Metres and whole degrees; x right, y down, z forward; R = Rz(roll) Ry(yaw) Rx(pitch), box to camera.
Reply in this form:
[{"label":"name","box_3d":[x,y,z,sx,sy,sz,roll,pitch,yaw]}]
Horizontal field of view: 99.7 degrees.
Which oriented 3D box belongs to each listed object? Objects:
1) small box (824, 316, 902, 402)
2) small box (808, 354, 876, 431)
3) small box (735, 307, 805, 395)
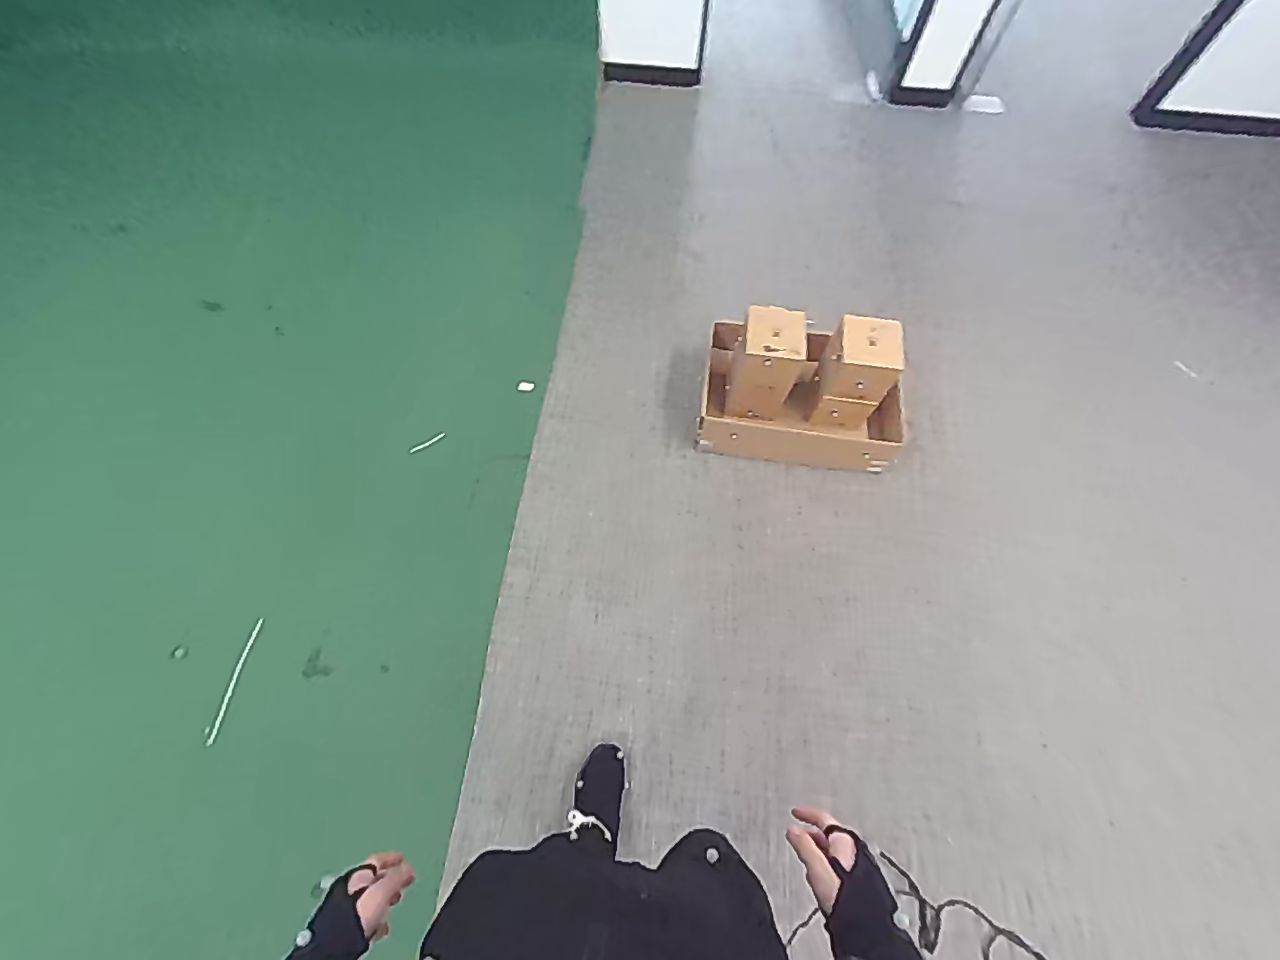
[{"label":"small box","box_3d":[0.649,-0.349,1.586,0.168,0.176,0.179,9,65,3]},{"label":"small box","box_3d":[0.644,-0.276,1.735,0.168,0.176,0.179,8,65,3]},{"label":"small box","box_3d":[0.379,-0.377,1.589,0.168,0.176,0.179,7,65,2]}]
